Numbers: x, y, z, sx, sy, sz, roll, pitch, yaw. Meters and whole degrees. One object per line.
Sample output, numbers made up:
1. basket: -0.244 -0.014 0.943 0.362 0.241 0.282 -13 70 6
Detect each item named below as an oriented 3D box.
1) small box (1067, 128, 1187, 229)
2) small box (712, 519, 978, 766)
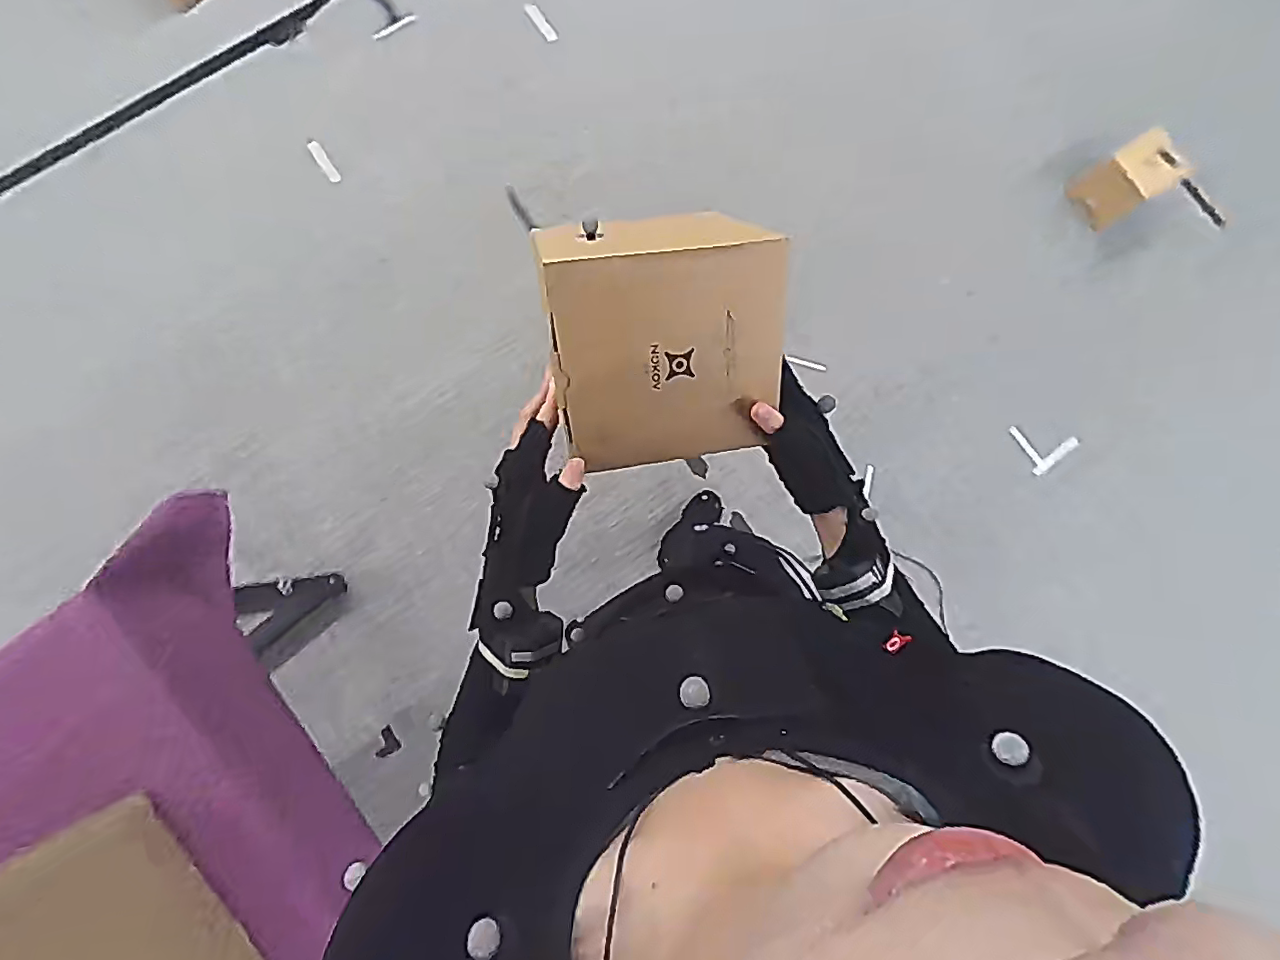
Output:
1. small box: 1.466 -0.906 1.639 0.179 0.176 0.168 -33 86 -4
2. small box: 0.206 0.159 0.568 0.176 0.168 0.179 -1 118 -39
